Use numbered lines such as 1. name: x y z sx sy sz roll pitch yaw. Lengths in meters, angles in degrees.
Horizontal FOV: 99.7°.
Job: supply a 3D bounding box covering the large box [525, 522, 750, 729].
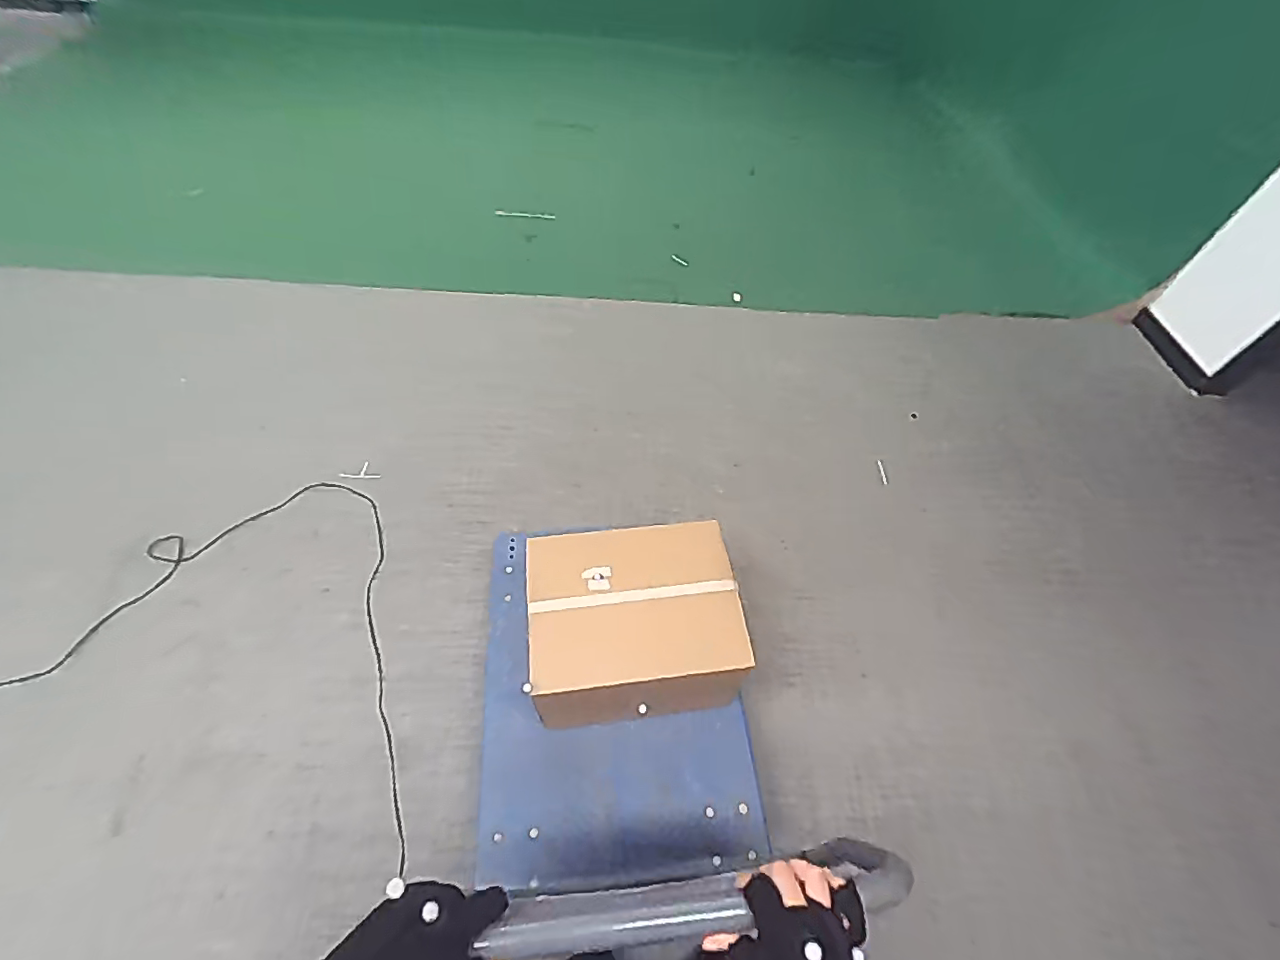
1. large box: -0.020 0.319 1.162 0.408 0.320 0.320 -6 54 -6
